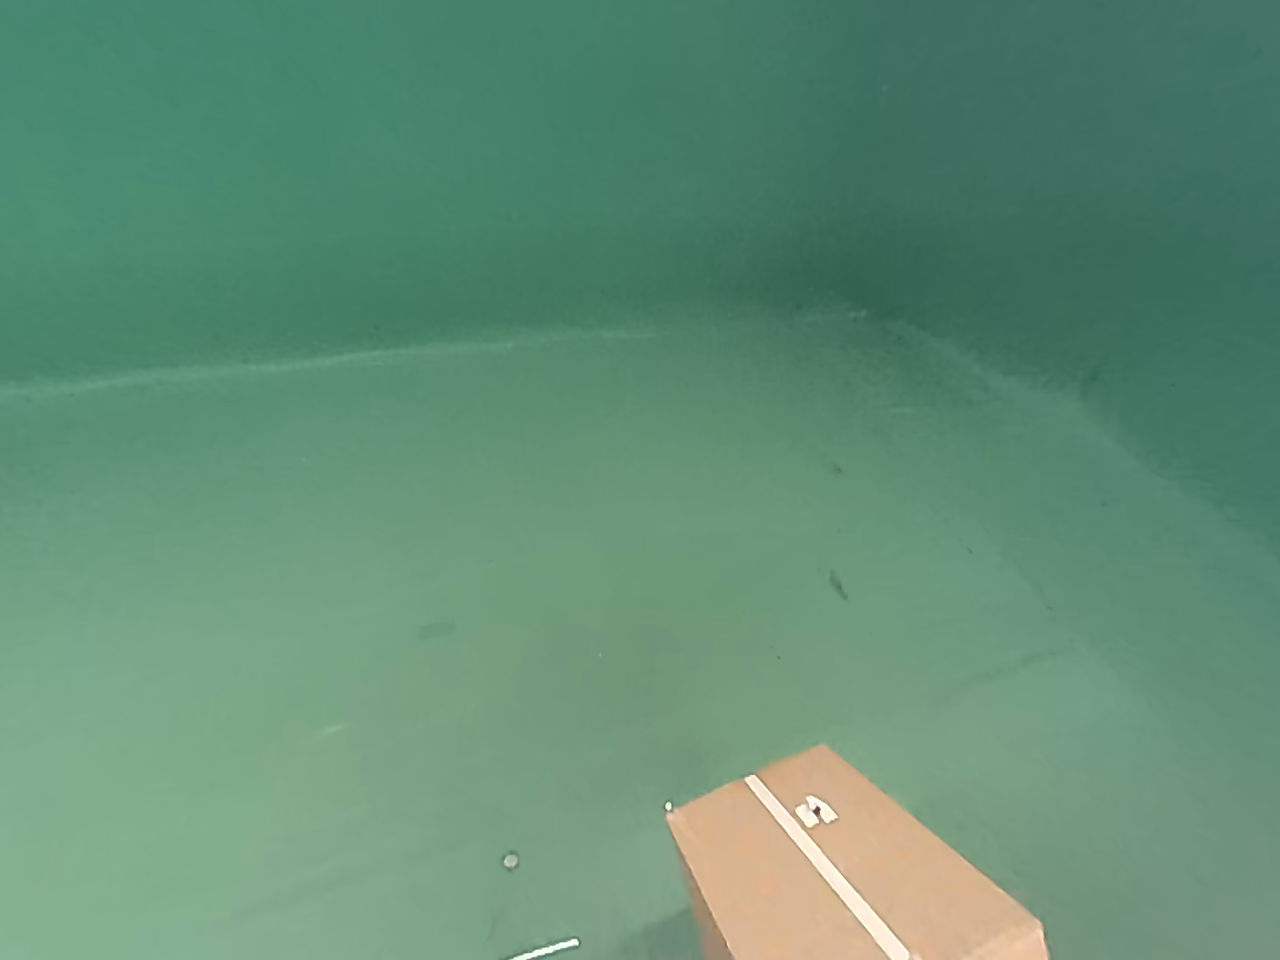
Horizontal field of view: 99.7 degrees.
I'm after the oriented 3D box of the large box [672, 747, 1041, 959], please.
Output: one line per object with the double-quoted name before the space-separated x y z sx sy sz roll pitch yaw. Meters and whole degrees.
"large box" 0.283 0.665 0.760 0.320 0.320 0.408 -14 4 -14
